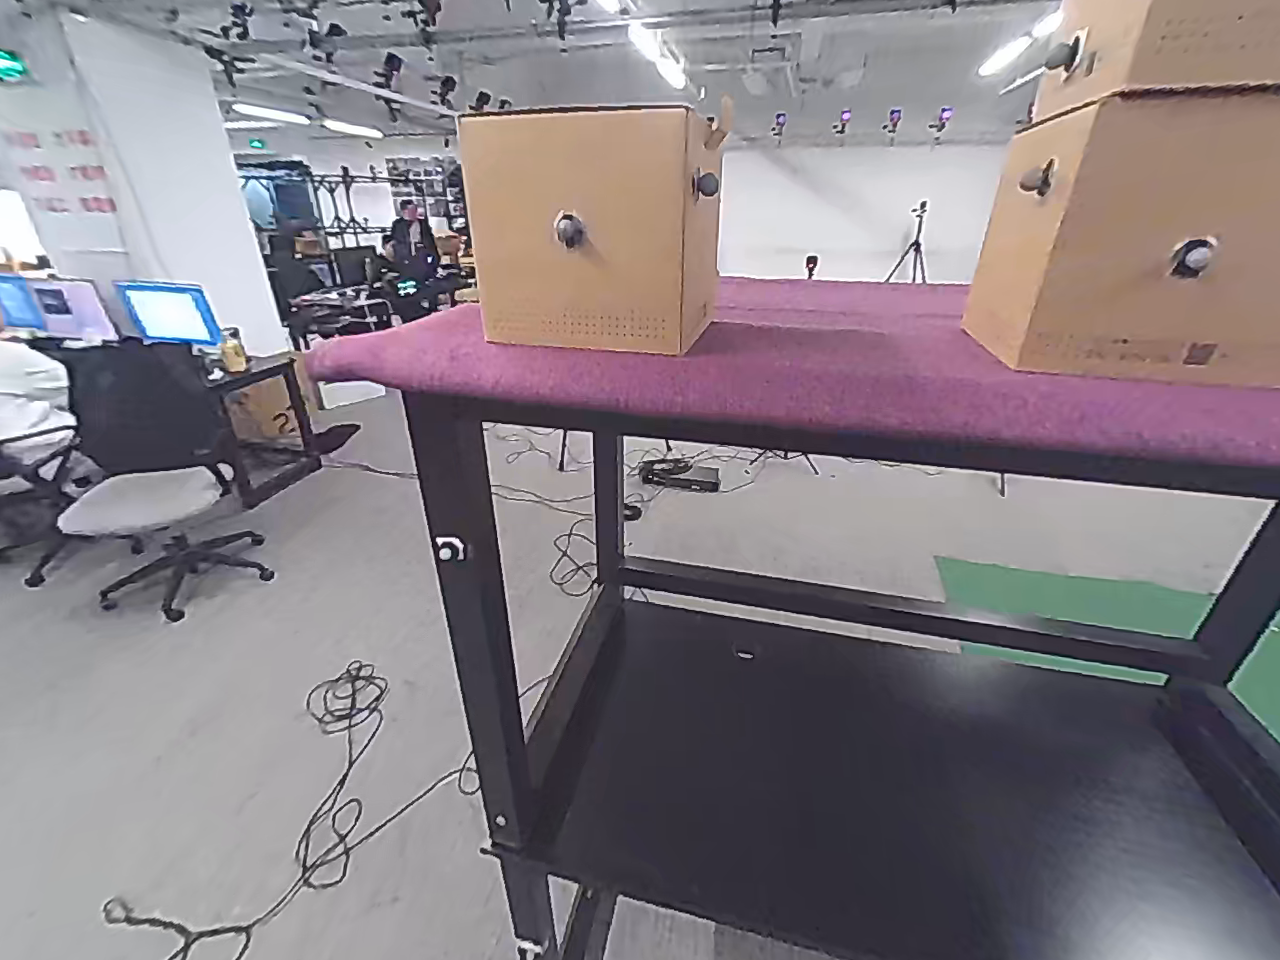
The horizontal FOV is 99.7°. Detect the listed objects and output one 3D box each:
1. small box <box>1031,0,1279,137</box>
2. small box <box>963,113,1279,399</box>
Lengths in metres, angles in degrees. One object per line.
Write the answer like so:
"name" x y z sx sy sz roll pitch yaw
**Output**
"small box" 0.383 -0.307 0.327 0.179 0.176 0.168 7 26 15
"small box" 0.374 -0.168 0.412 0.168 0.176 0.179 9 27 14
